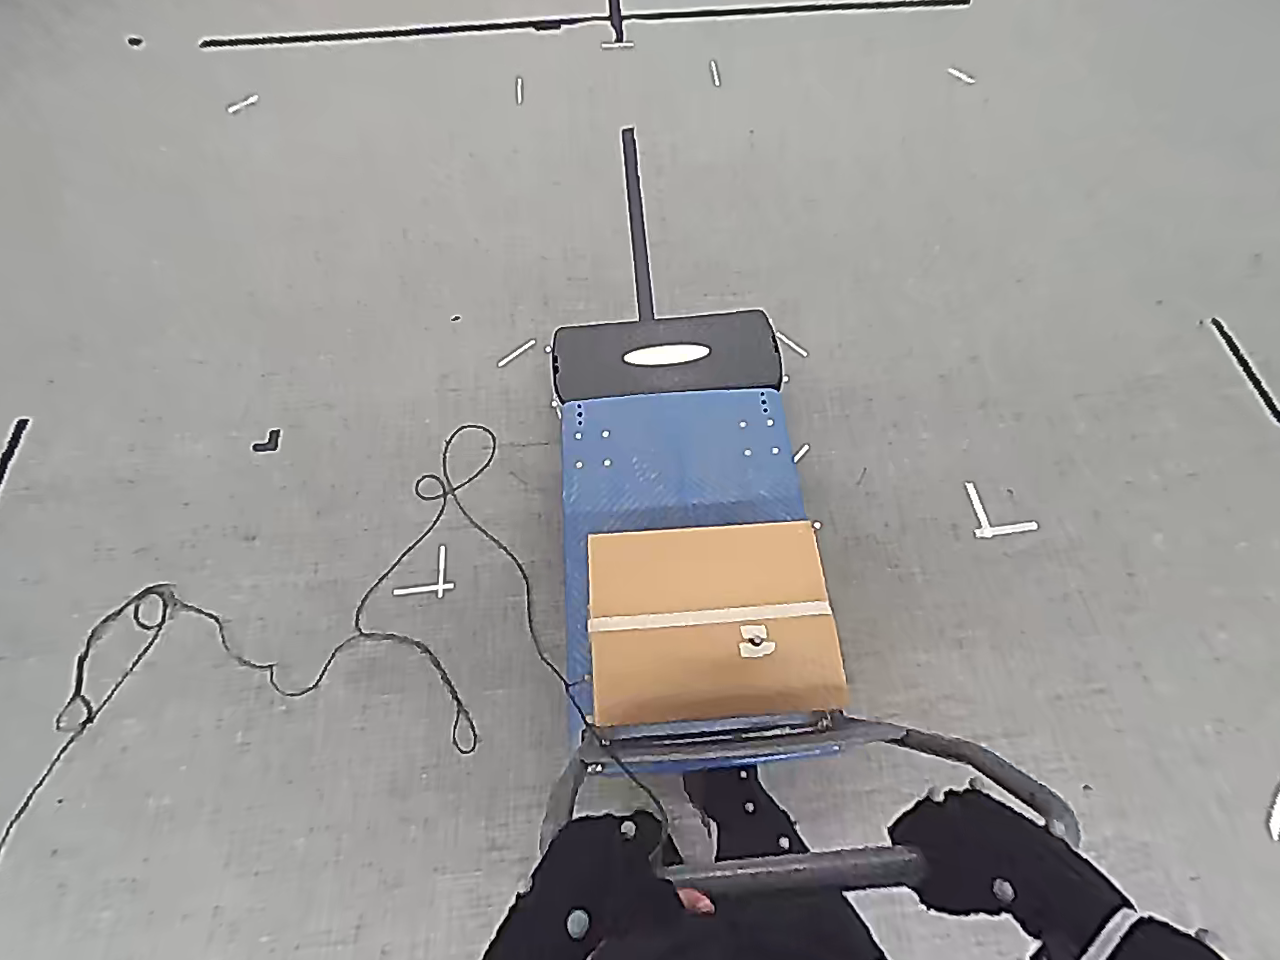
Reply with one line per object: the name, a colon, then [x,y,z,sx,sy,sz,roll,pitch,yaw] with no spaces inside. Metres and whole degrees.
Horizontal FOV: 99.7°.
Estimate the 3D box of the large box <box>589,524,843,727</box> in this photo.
large box: [0.116,0.294,1.058,0.408,0.320,0.320,-4,68,-3]
